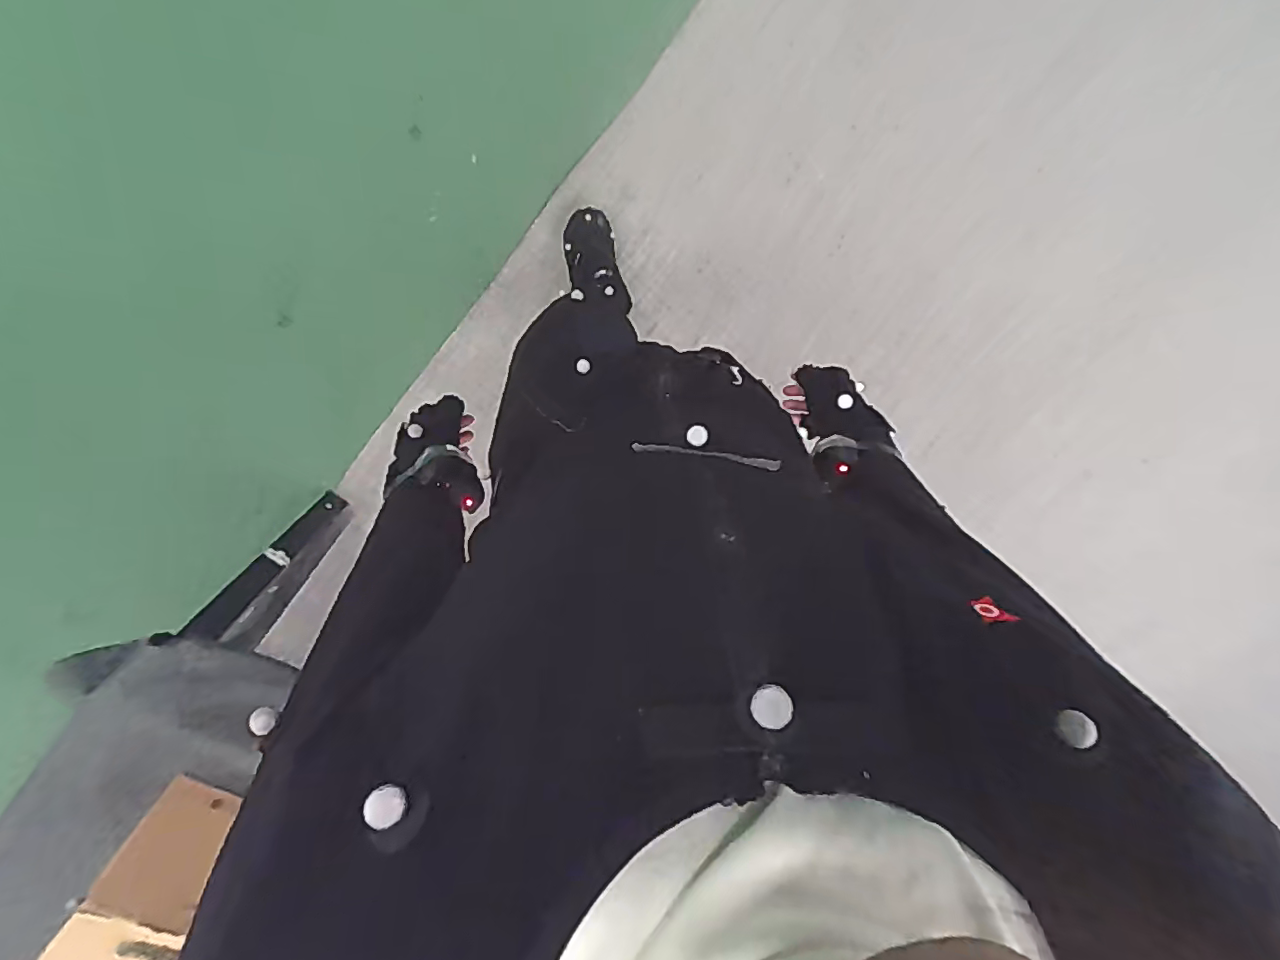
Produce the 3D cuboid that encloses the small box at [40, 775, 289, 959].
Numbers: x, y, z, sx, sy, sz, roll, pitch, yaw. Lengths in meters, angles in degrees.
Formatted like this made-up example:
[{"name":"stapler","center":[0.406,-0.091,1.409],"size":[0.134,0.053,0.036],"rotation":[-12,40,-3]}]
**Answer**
[{"name":"small box","center":[-0.599,0.527,0.702],"size":[0.168,0.176,0.179],"rotation":[38,103,-20]}]
